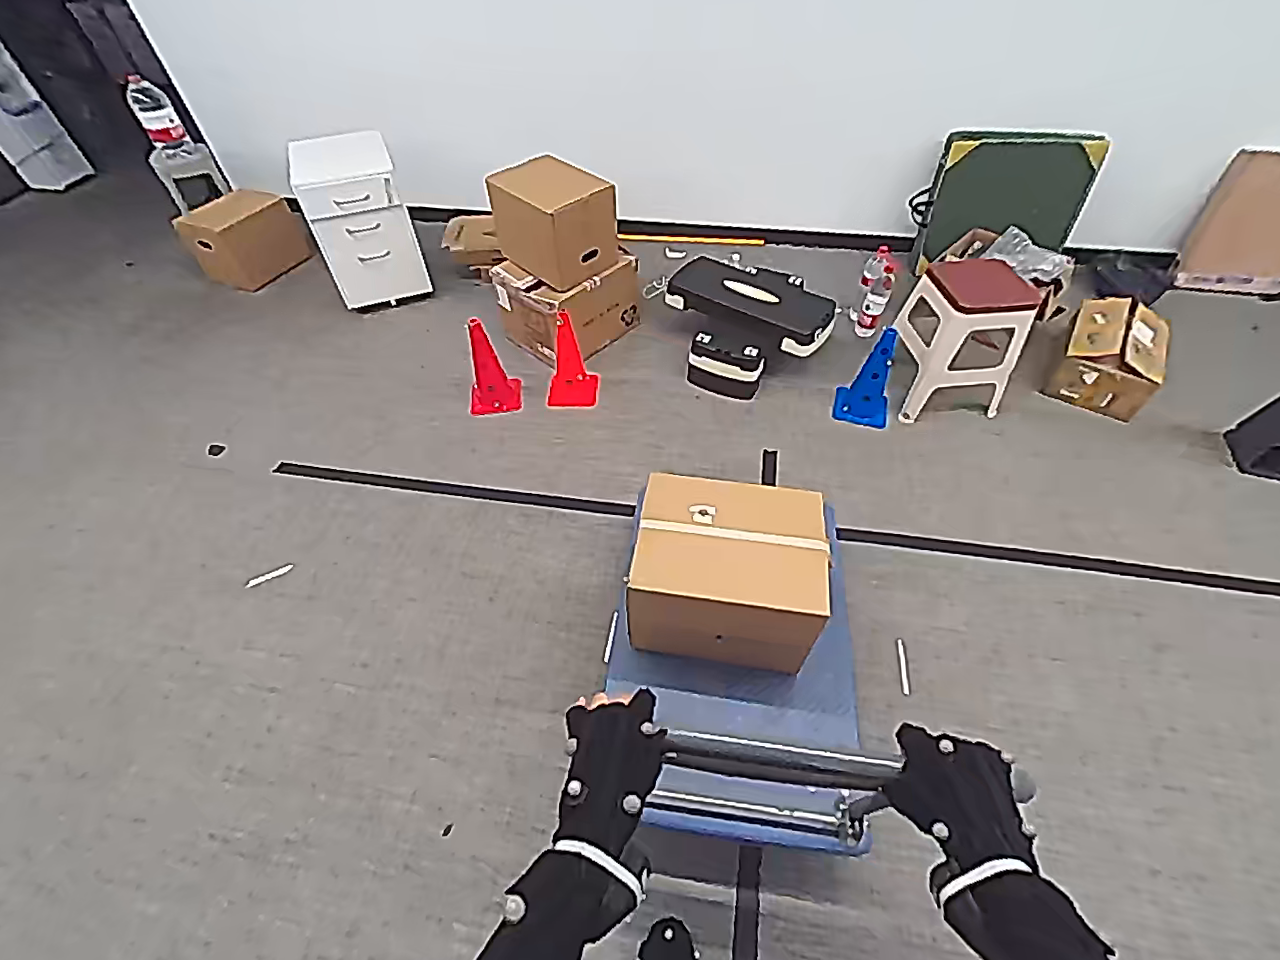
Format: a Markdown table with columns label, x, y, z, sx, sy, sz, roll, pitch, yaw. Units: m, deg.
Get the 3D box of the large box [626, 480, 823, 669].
| label | x | y | z | sx | sy | sz | roll | pitch | yaw |
| --- | --- | --- | --- | --- | --- | --- | --- | --- | --- |
| large box | 0.195 | 0.229 | 1.293 | 0.408 | 0.320 | 0.320 | 6 | 50 | 7 |
